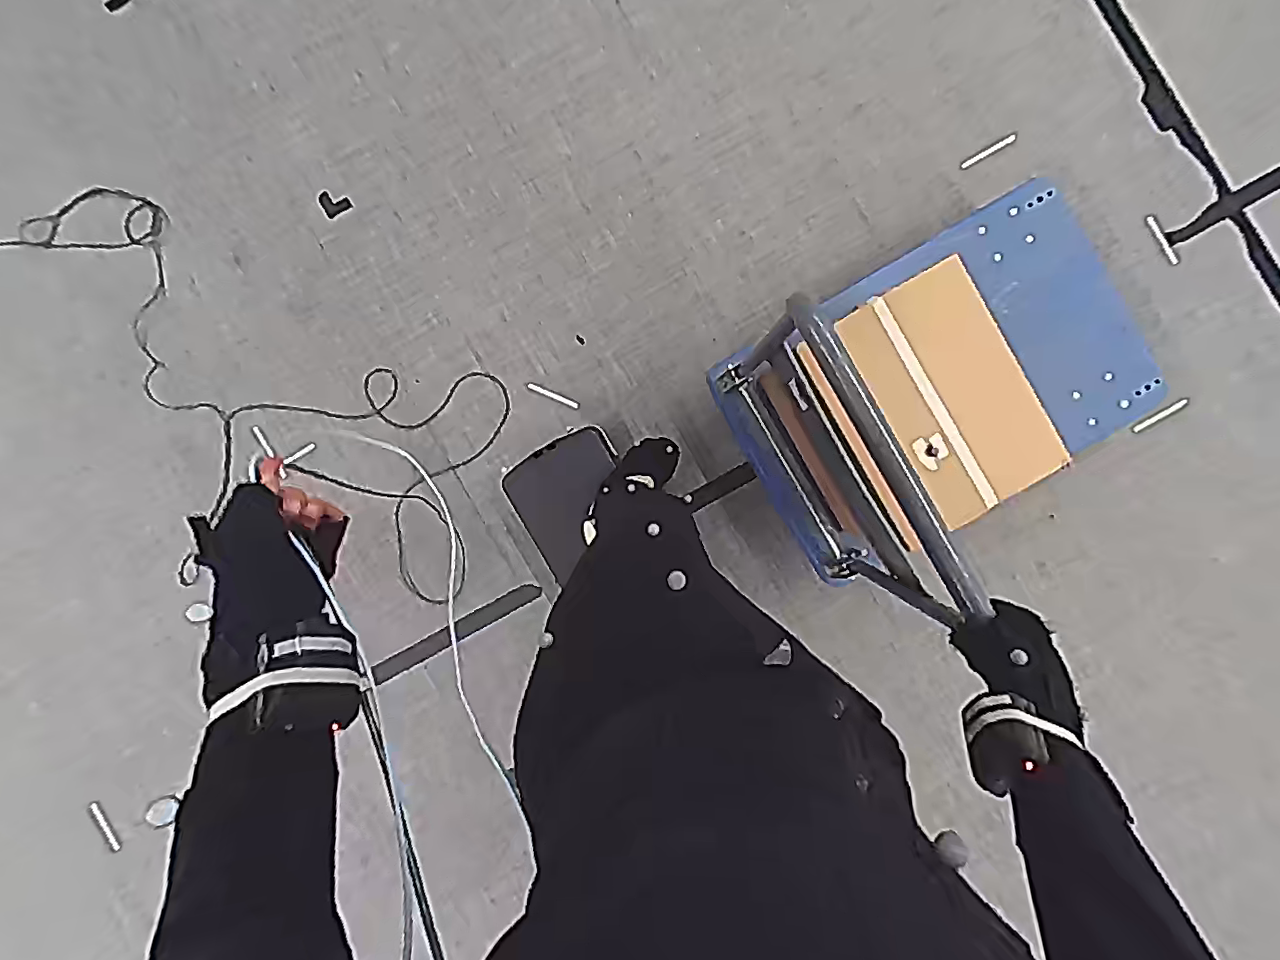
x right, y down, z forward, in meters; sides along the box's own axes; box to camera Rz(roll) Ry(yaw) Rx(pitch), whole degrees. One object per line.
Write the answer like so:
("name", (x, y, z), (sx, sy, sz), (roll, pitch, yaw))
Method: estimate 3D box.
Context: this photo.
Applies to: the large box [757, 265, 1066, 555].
("large box", (0.484, -0.120, 1.052), (0.320, 0.320, 0.408), (-30, 91, 2))
